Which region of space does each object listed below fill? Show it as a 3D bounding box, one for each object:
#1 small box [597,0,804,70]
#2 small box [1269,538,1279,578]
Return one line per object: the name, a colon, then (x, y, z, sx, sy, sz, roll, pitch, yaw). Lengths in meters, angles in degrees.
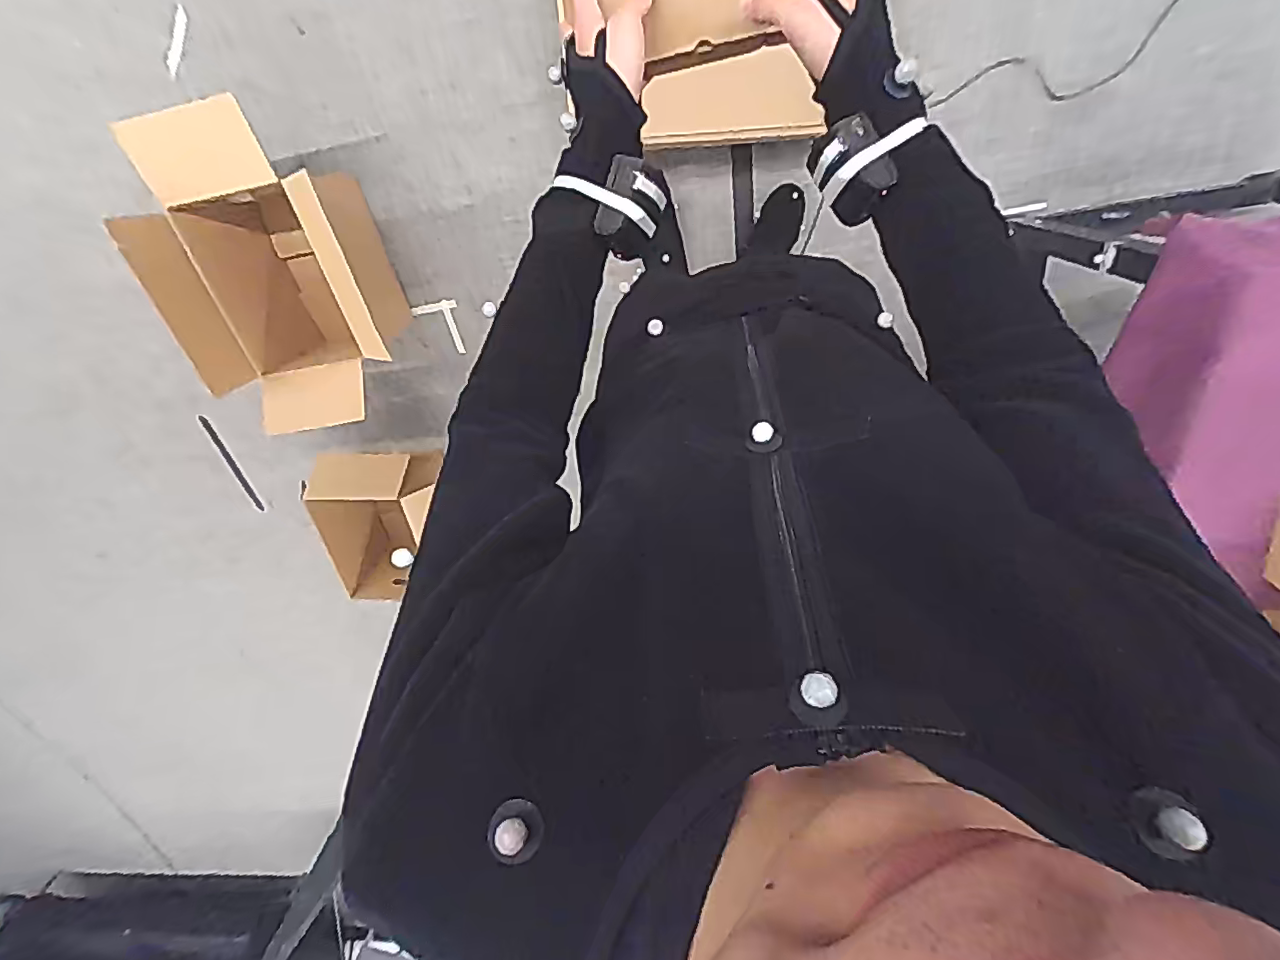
small box: (0.042, -0.476, 0.440, 0.168, 0.176, 0.179, -6, 139, 10)
small box: (1.133, 0.119, 0.818, 0.168, 0.176, 0.179, -14, 119, 14)
